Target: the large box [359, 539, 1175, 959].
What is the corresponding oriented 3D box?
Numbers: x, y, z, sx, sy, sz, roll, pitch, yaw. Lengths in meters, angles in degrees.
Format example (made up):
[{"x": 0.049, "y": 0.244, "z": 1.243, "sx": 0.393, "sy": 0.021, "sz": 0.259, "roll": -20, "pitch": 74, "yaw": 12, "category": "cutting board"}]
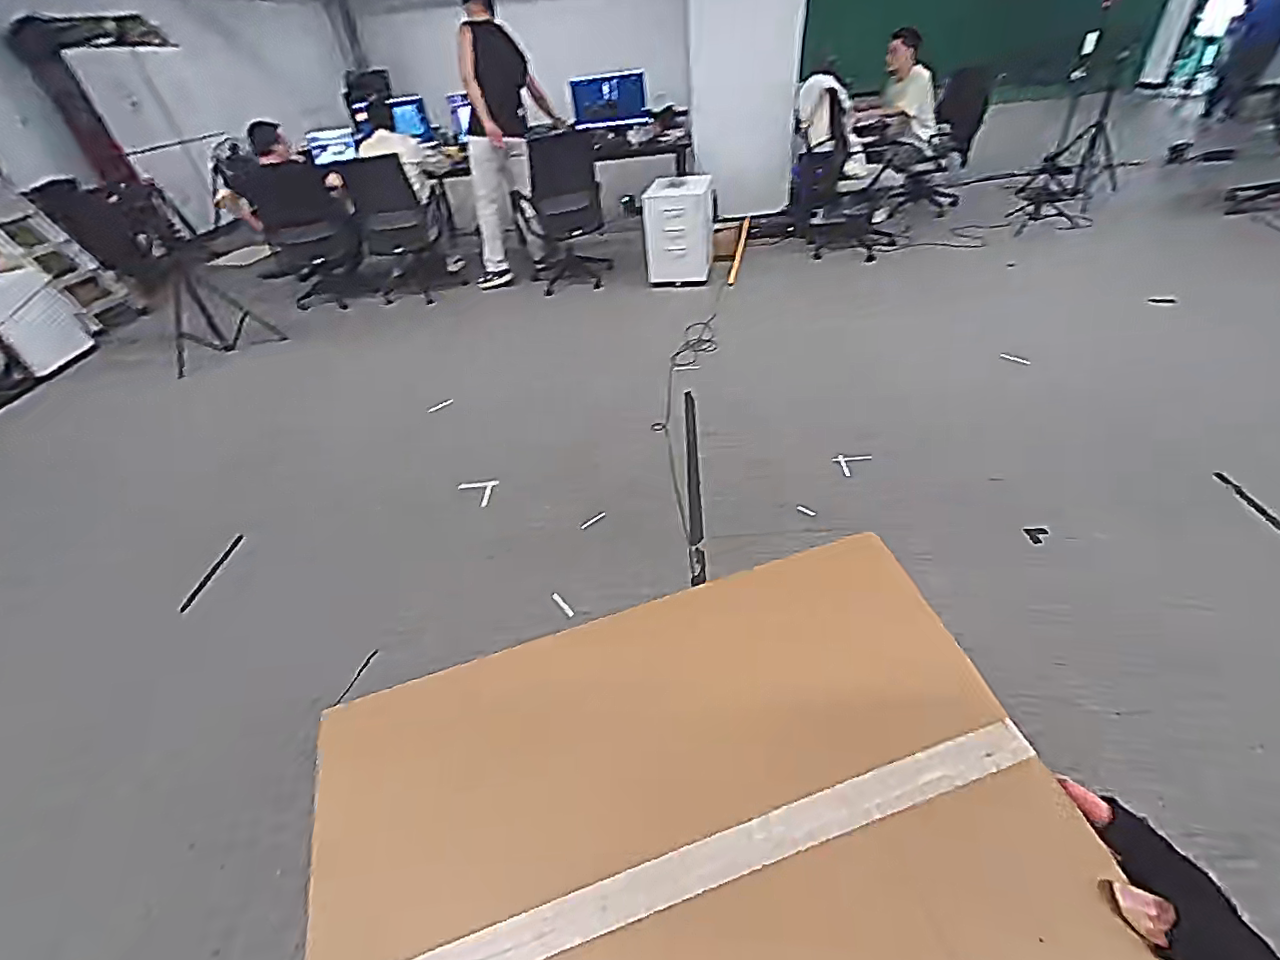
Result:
[{"x": 0.052, "y": 0.305, "z": 0.420, "sx": 0.408, "sy": 0.320, "sz": 0.320, "roll": -16, "pitch": 52, "yaw": -7, "category": "large box"}]
